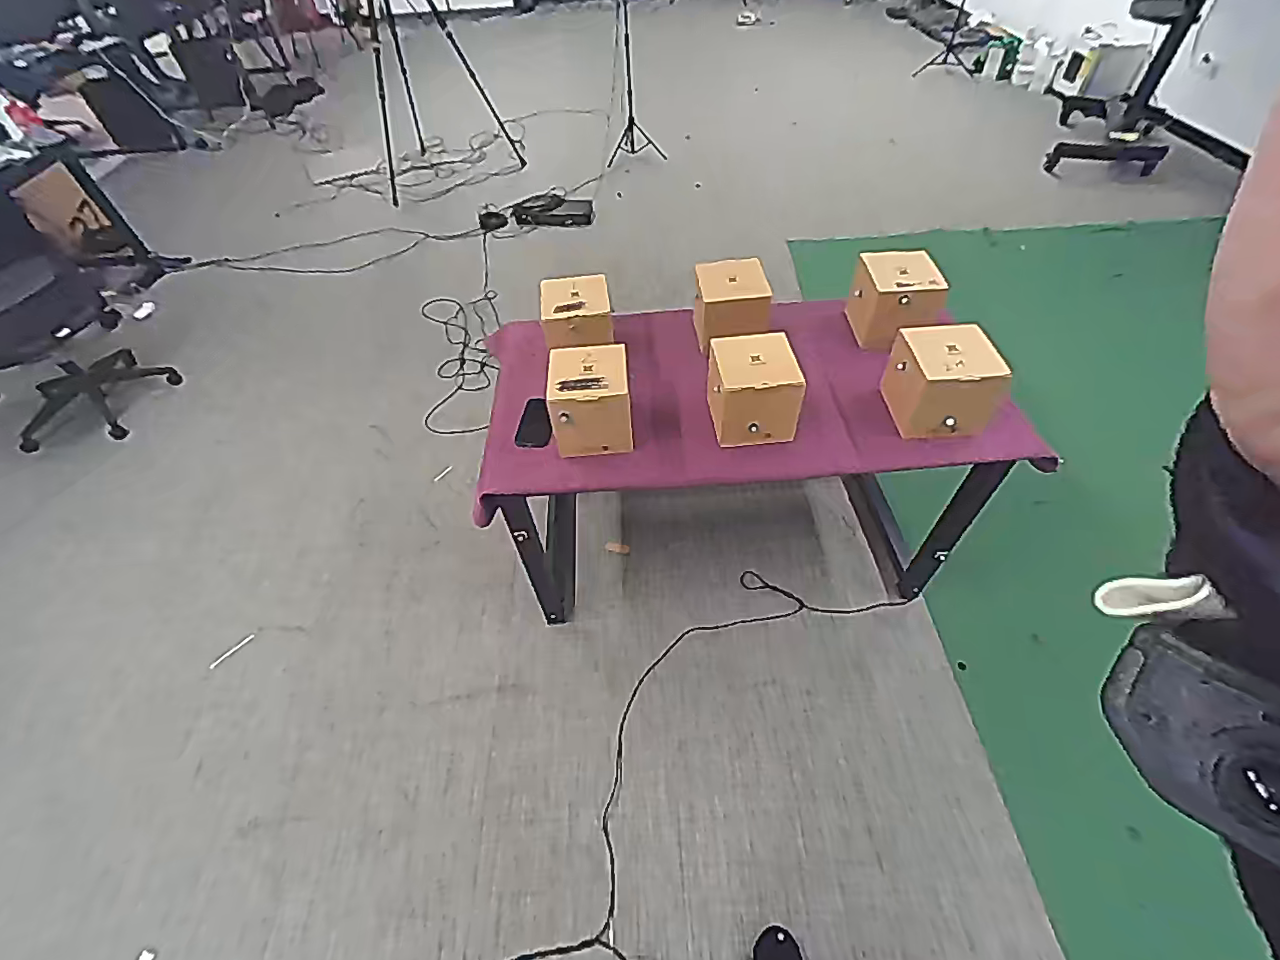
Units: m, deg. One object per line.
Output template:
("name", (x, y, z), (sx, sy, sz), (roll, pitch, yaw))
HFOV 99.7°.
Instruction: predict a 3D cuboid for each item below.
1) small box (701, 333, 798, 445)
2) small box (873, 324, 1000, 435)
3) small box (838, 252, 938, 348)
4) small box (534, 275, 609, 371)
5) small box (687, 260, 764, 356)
("small box", (0.232, -0.200, 1.195), (0.168, 0.176, 0.179), (-6, 50, -2))
("small box", (0.632, -0.218, 1.181), (0.168, 0.176, 0.179), (-3, 50, 2))
("small box", (0.623, -0.460, 1.386), (0.168, 0.176, 0.179), (-3, 50, 2))
("small box", (-0.172, -0.392, 1.375), (0.168, 0.176, 0.179), (-7, 50, -3))
("small box", (0.212, -0.444, 1.398), (0.168, 0.176, 0.179), (-6, 51, 0))
